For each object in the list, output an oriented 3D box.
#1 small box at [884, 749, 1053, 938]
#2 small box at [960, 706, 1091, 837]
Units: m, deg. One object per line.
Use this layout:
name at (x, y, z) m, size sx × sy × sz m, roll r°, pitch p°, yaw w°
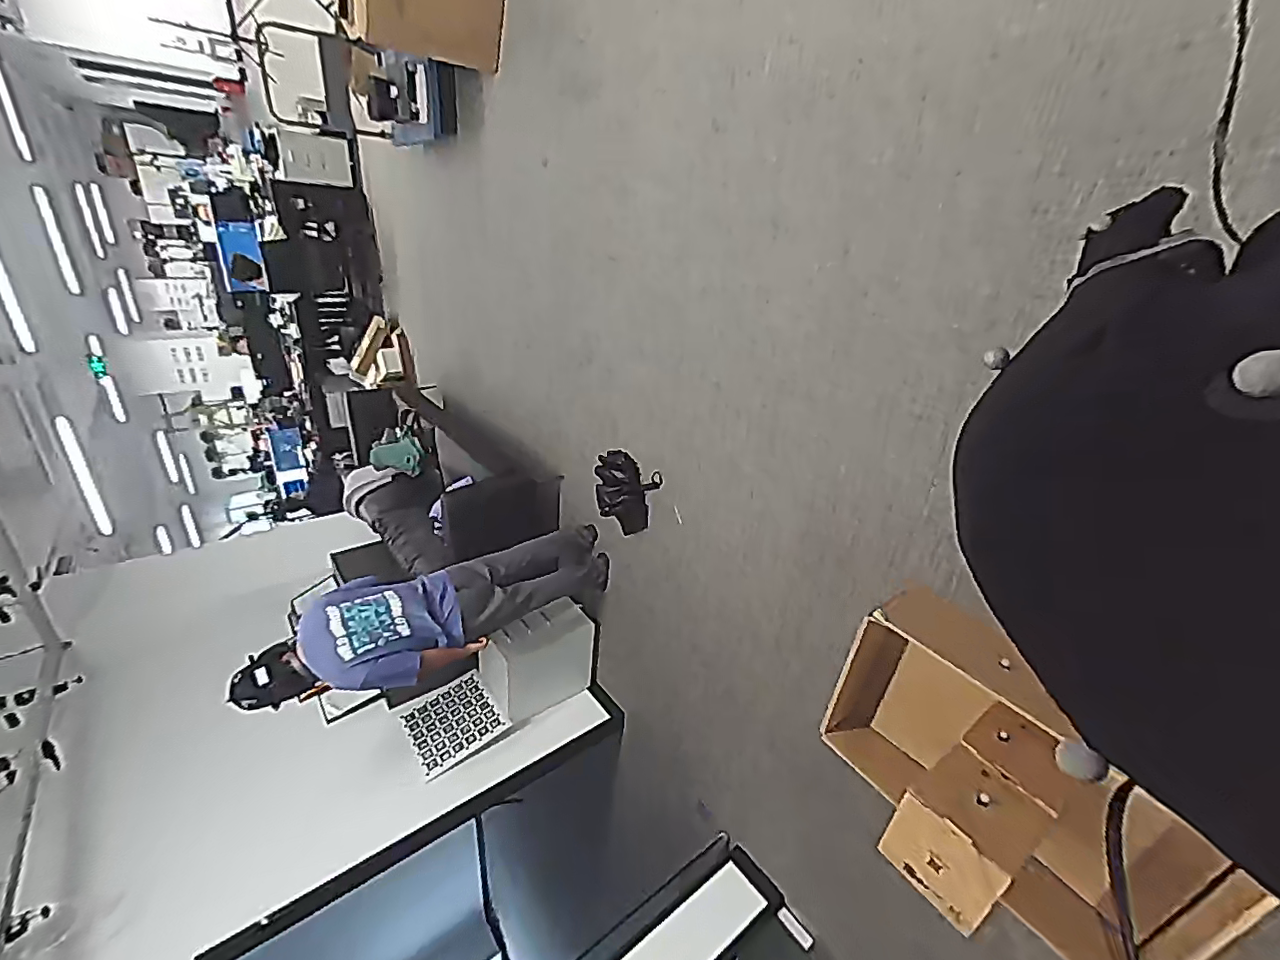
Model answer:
small box at (0.557, 0.602, 0.917) m, size 0.168 × 0.176 × 0.179 m, roll 36°, pitch 130°, yaw 44°
small box at (0.691, 0.560, 1.003) m, size 0.168 × 0.176 × 0.179 m, roll 36°, pitch 132°, yaw 44°
